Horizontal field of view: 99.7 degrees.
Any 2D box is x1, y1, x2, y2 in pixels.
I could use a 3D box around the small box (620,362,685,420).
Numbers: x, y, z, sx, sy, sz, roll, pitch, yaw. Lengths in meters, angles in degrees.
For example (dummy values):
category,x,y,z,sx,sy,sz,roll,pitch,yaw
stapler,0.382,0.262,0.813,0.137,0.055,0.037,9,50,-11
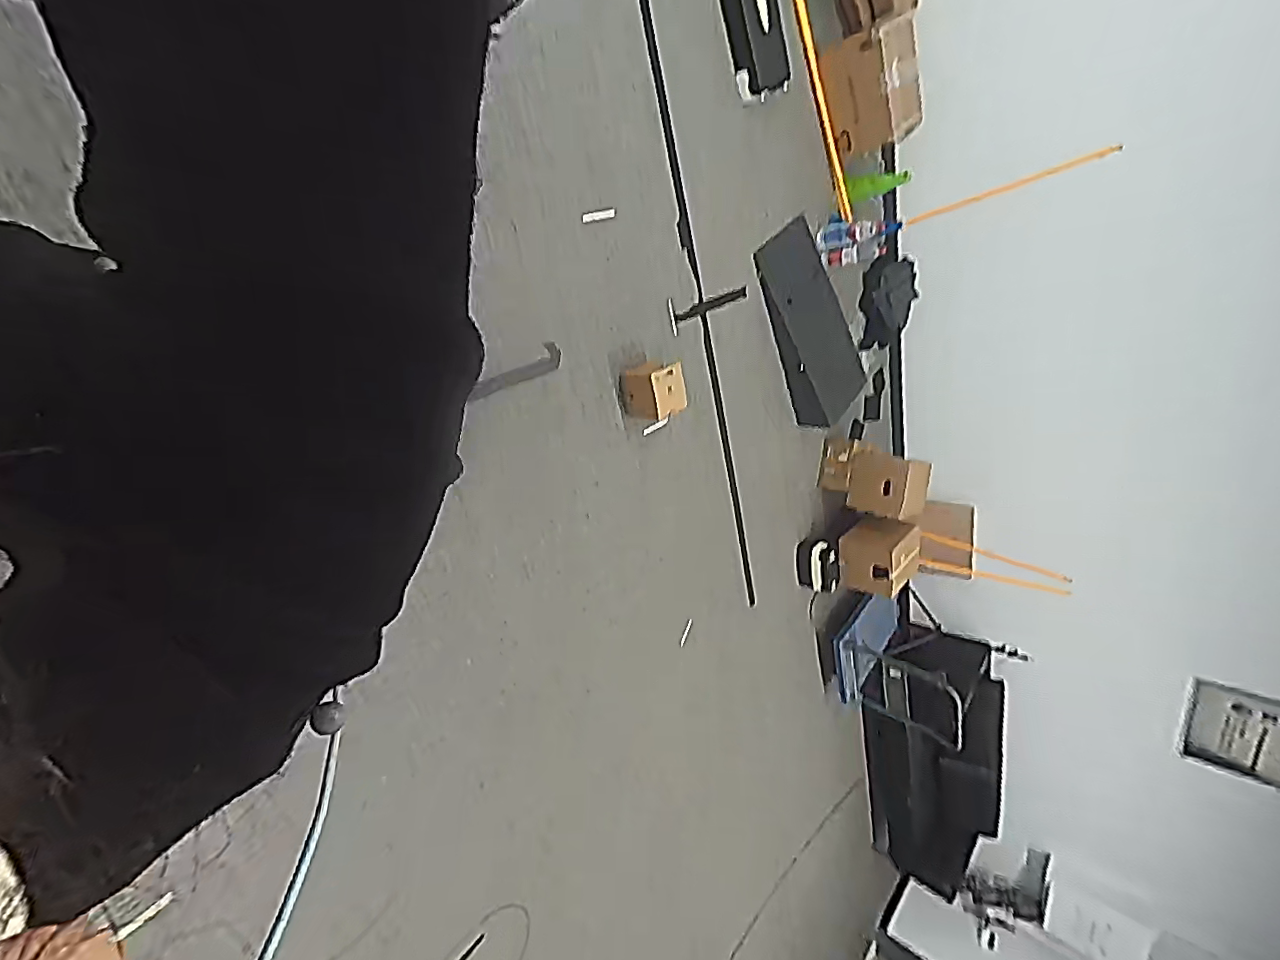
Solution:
category,x,y,z,sx,sy,sz,roll,pitch,yaw
small box,0.046,-0.343,2.046,0.168,0.176,0.179,-31,120,-38
